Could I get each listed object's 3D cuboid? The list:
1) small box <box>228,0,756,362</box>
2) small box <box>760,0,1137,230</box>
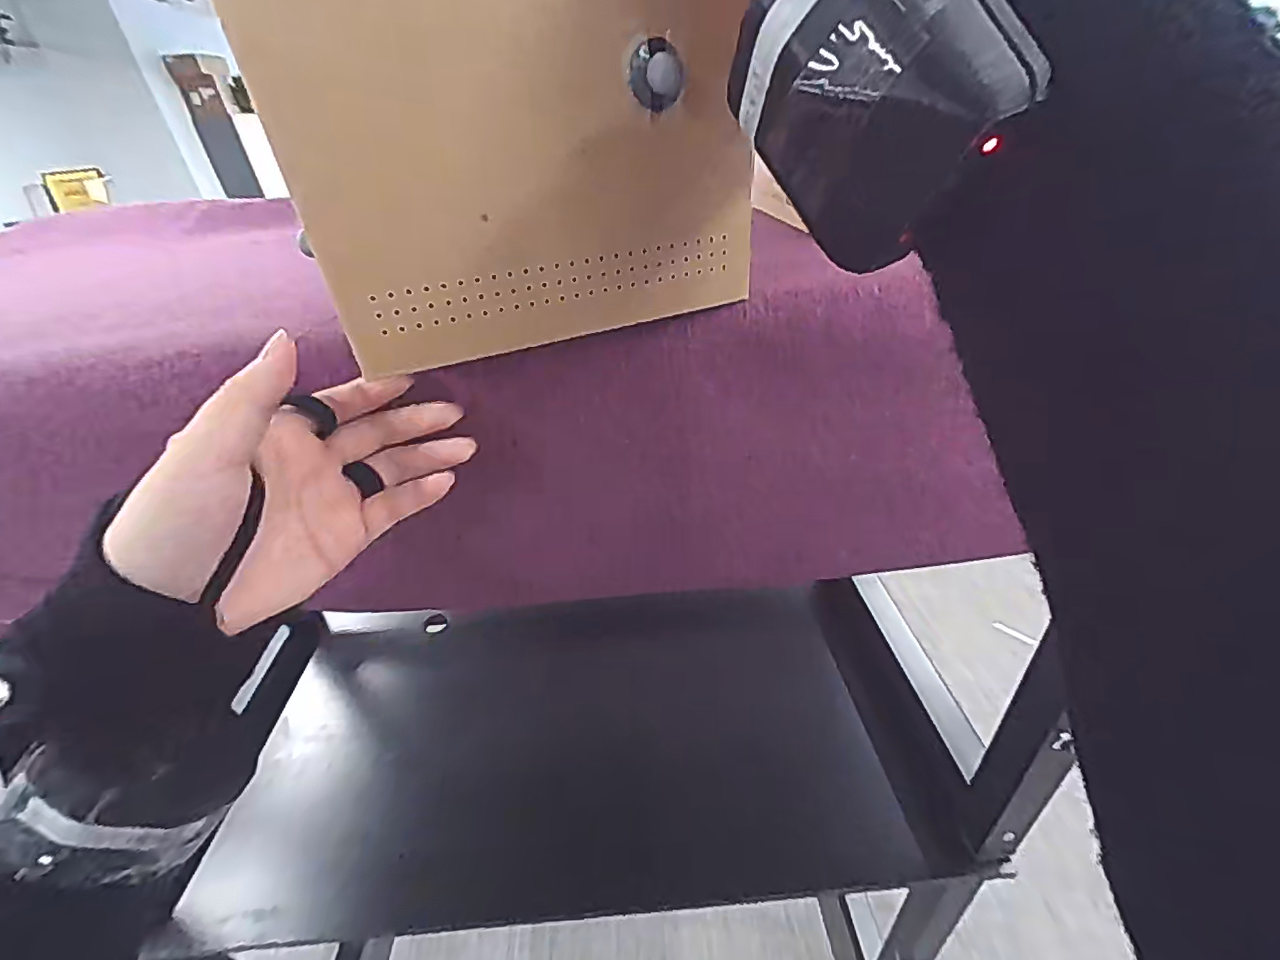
[{"bbox_3d":[-0.061,-0.172,0.250,0.179,0.176,0.168,-17,36,-15],"label":"small box"},{"bbox_3d":[0.191,-0.283,0.376,0.179,0.176,0.168,-6,33,-1],"label":"small box"}]
